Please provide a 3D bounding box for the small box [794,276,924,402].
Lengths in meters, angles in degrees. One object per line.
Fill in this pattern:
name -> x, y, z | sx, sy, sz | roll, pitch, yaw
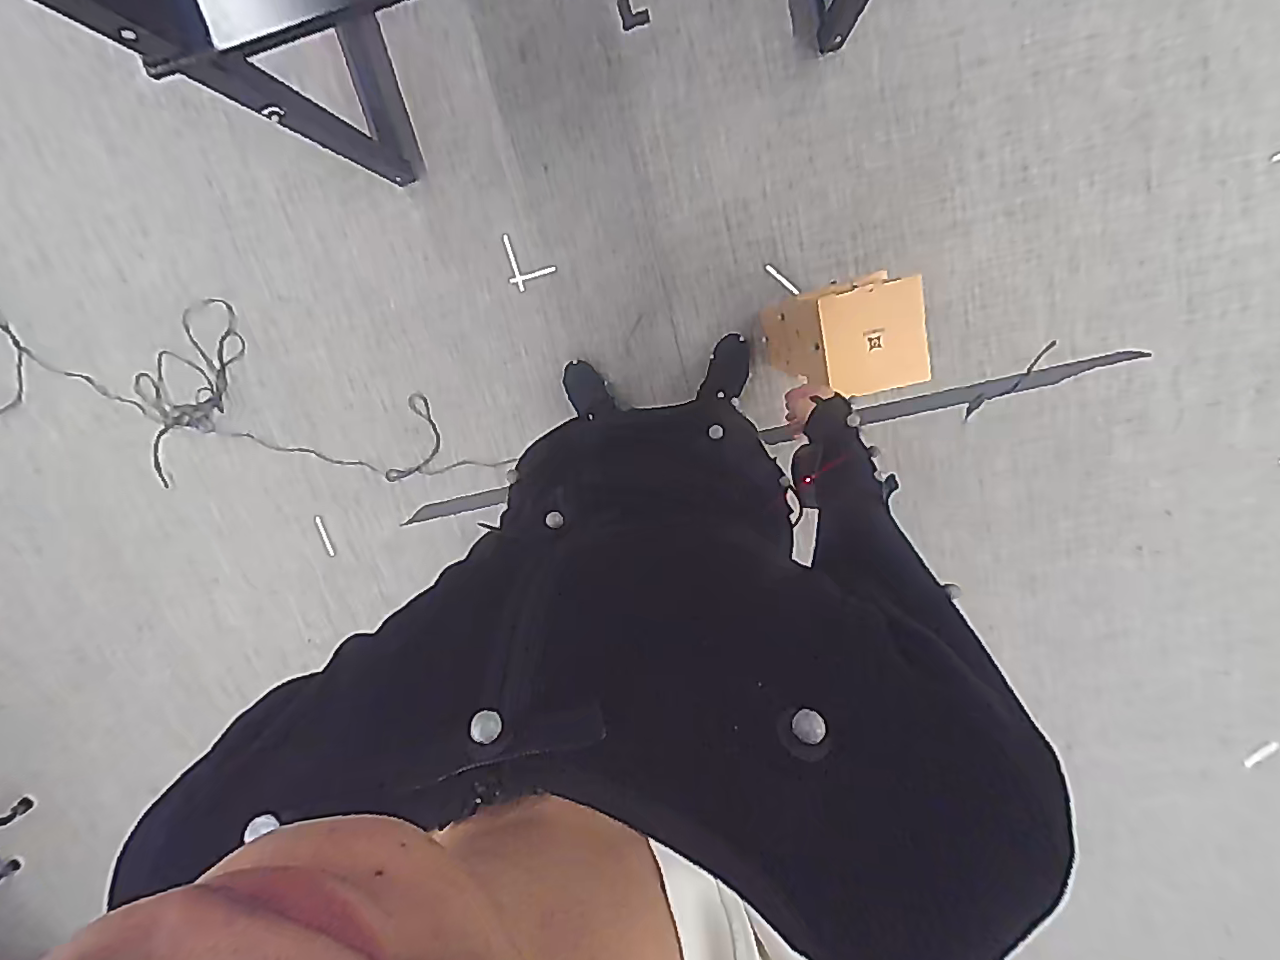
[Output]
small box -> 0.383, -0.252, 0.965 | 0.168, 0.176, 0.179 | -12, 105, 7

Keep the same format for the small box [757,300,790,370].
small box -> 0.422, -0.400, 1.431 | 0.179, 0.176, 0.168 | -13, 105, 8

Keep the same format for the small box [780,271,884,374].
small box -> 0.396, -0.317, 1.114 | 0.179, 0.176, 0.168 | -15, 105, 7
